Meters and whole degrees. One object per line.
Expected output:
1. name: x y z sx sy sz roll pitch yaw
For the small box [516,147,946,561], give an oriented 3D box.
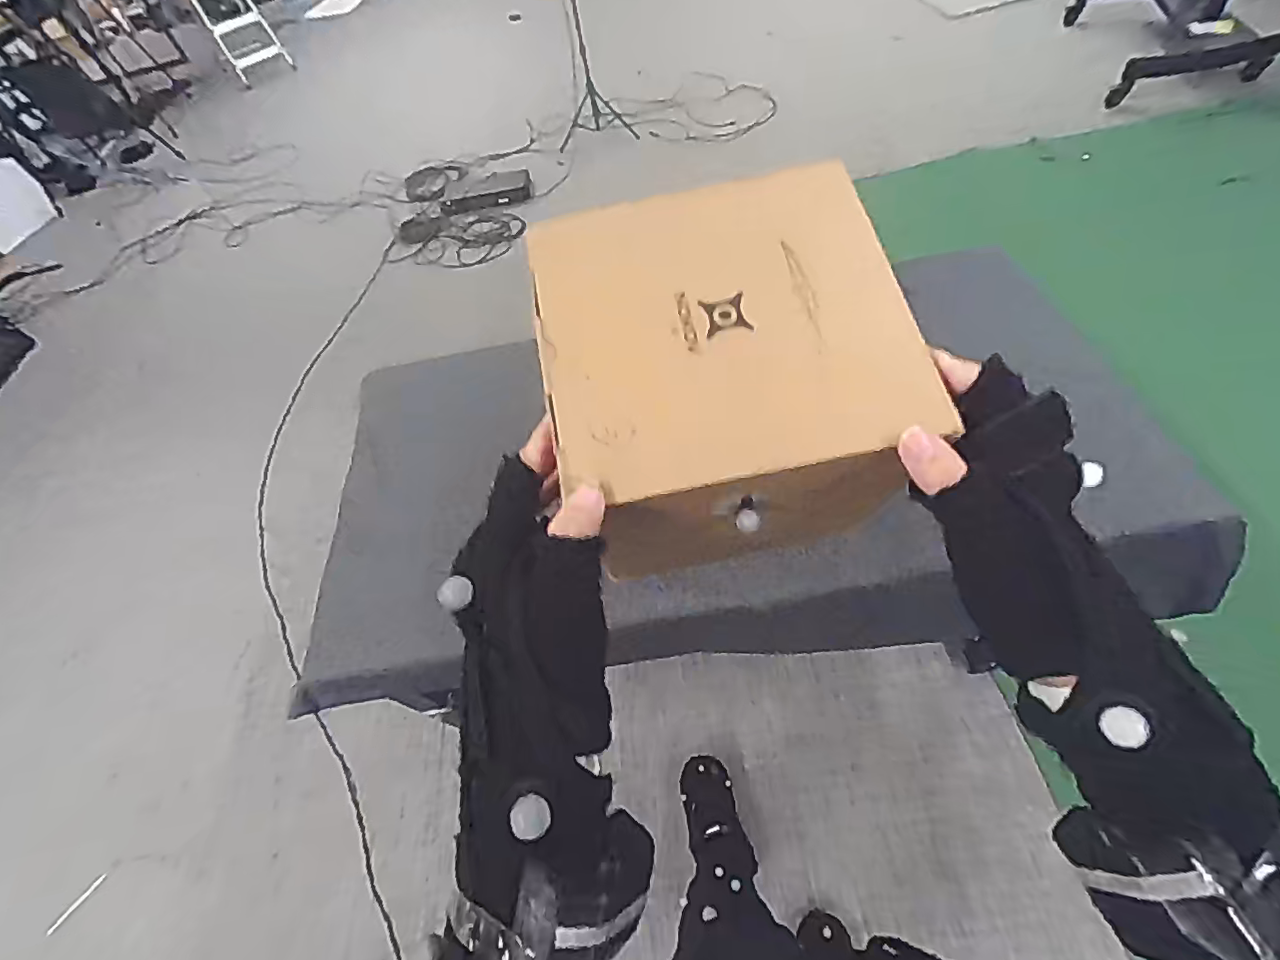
1. small box: 0.039 -0.056 0.331 0.179 0.176 0.168 -11 70 0
